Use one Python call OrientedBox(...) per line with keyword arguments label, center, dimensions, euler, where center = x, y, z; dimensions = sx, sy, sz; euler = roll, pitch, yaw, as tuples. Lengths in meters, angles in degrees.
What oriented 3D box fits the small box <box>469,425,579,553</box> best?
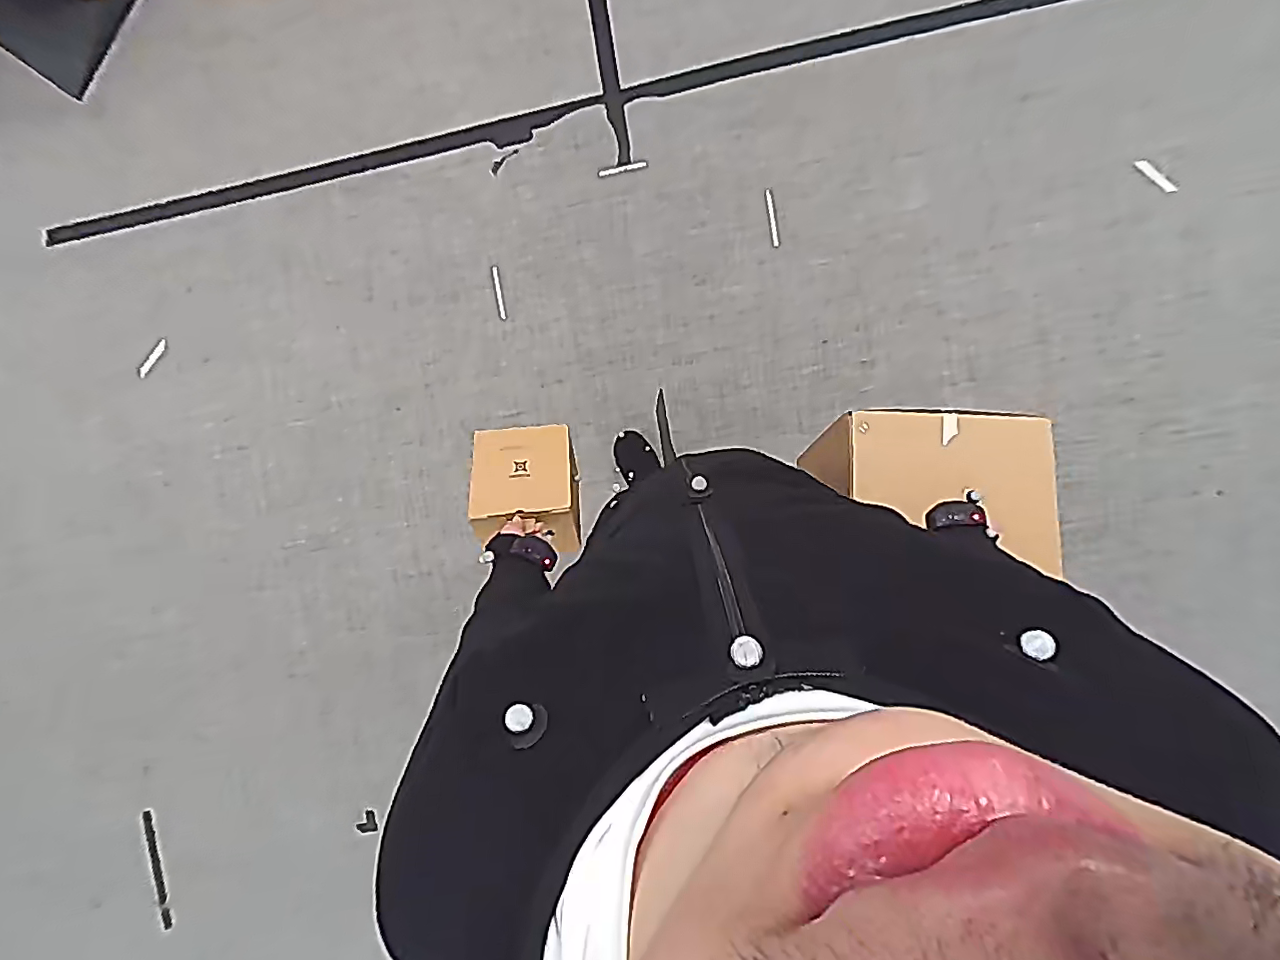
OrientedBox(label="small box", center=(-0.203, 0.023, 0.986), dimensions=(0.168, 0.176, 0.179), euler=(-5, 57, -3))
